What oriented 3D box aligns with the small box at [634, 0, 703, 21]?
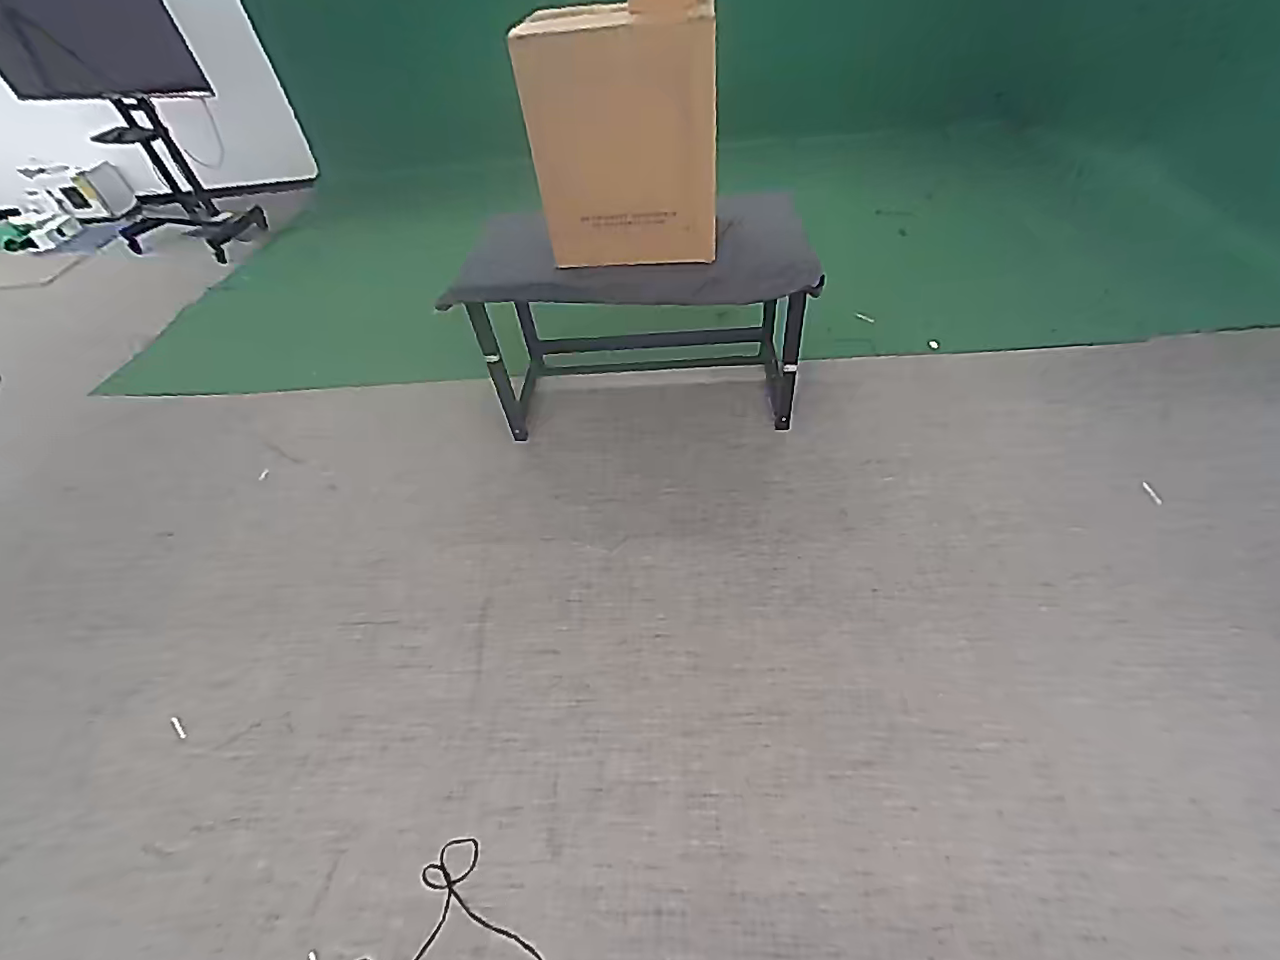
[{"bbox_3d":[0.075,-1.309,1.393,0.179,0.176,0.168,2,51,5],"label":"small box"}]
